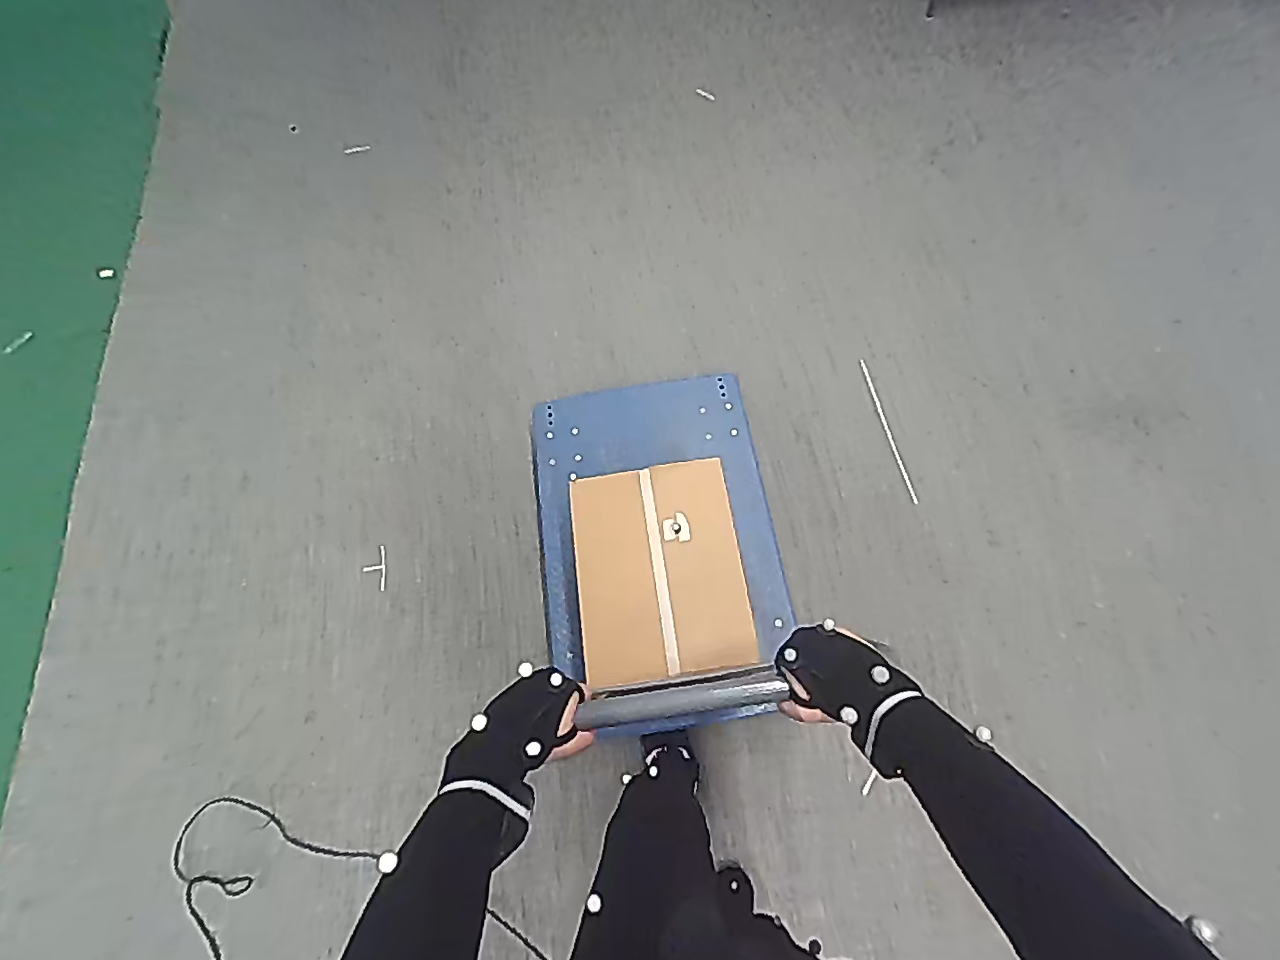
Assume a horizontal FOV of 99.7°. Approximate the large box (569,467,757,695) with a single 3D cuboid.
[{"bbox_3d":[0.047,0.234,1.181,0.320,0.320,0.408,-9,67,1],"label":"large box"}]
